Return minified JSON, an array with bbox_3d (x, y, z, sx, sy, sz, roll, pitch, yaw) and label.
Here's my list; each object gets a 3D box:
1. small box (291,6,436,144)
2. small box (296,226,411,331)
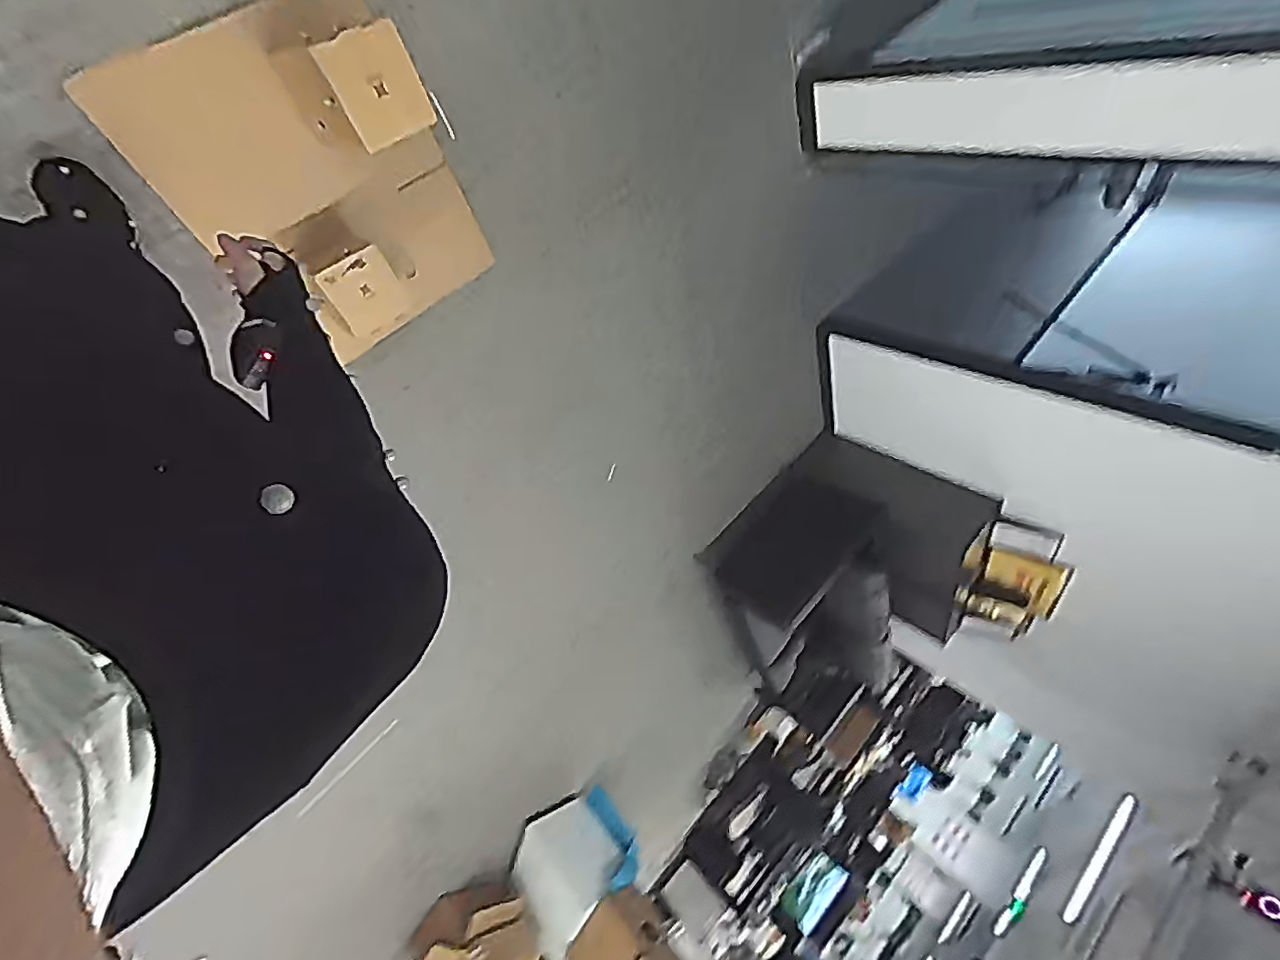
[{"bbox_3d":[-0.546,-0.797,1.070,0.168,0.176,0.179,-40,138,-18],"label":"small box"},{"bbox_3d":[-0.718,-0.509,1.355,0.168,0.176,0.179,-40,138,-20],"label":"small box"}]
